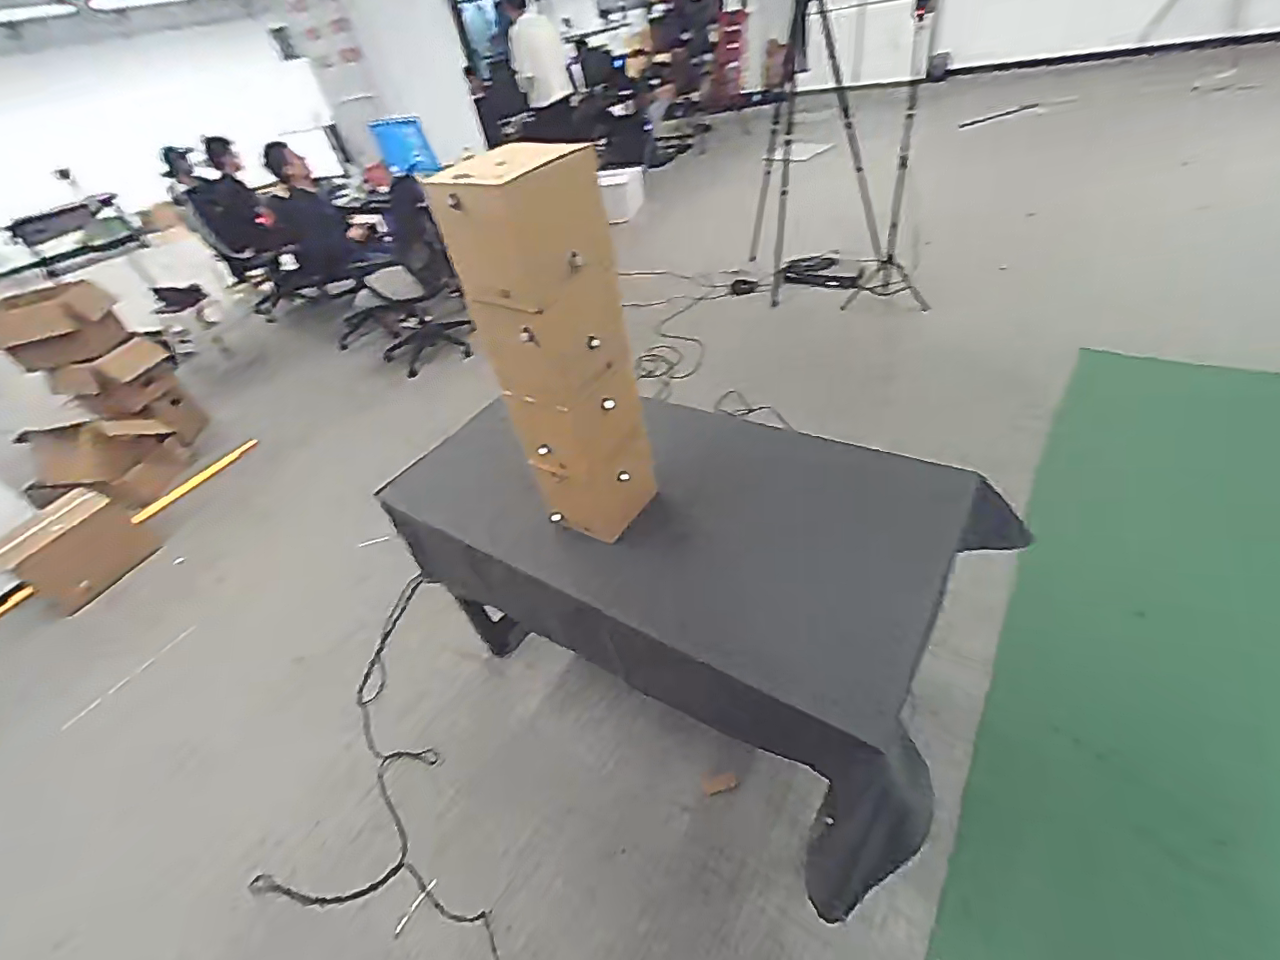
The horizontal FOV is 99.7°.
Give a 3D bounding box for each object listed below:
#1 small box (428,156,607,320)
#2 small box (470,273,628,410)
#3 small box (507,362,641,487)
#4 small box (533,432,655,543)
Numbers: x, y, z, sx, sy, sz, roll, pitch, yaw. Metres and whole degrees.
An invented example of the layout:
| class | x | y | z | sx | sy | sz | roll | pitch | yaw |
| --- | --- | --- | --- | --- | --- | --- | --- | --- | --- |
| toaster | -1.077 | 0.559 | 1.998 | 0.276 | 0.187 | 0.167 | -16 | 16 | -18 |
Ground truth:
| class | x | y | z | sx | sy | sz | roll | pitch | yaw |
| --- | --- | --- | --- | --- | --- | --- | --- | --- | --- |
| small box | -0.165 | -0.357 | 0.791 | 0.168 | 0.176 | 0.179 | 21 | 51 | 33 |
| small box | -0.141 | -0.237 | 0.901 | 0.179 | 0.176 | 0.168 | 20 | 50 | 32 |
| small box | -0.112 | -0.118 | 1.010 | 0.168 | 0.176 | 0.179 | 18 | 50 | 31 |
| small box | -0.085 | 0.001 | 1.116 | 0.168 | 0.176 | 0.179 | 18 | 48 | 31 |
